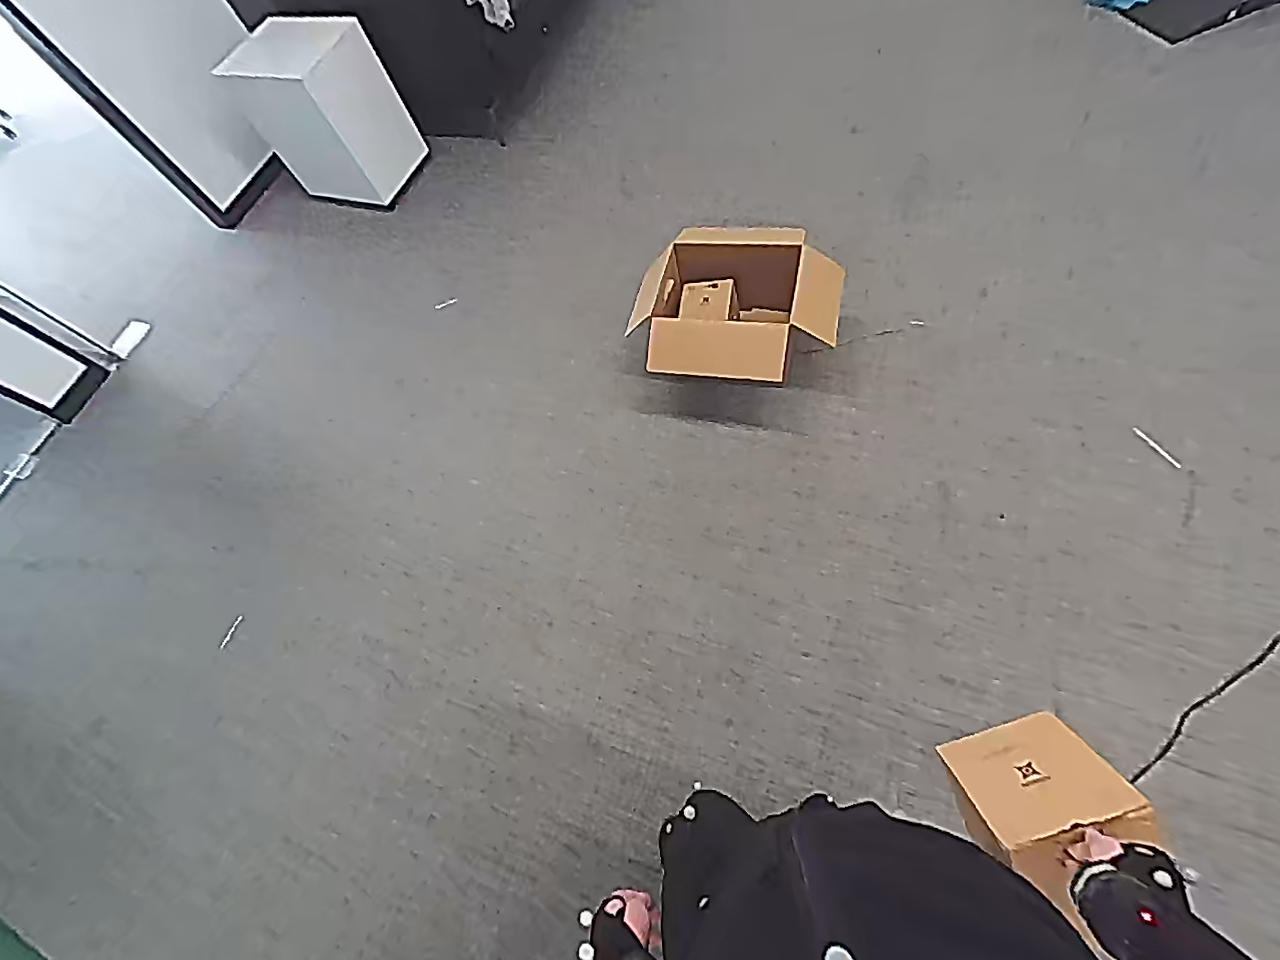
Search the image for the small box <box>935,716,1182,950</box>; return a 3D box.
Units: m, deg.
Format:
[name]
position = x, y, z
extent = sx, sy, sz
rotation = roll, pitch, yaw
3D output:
[small box]
position = 0.520, 0.446, 0.689
extent = 0.168, 0.179, 0.176
rotation = -21, 96, 8
